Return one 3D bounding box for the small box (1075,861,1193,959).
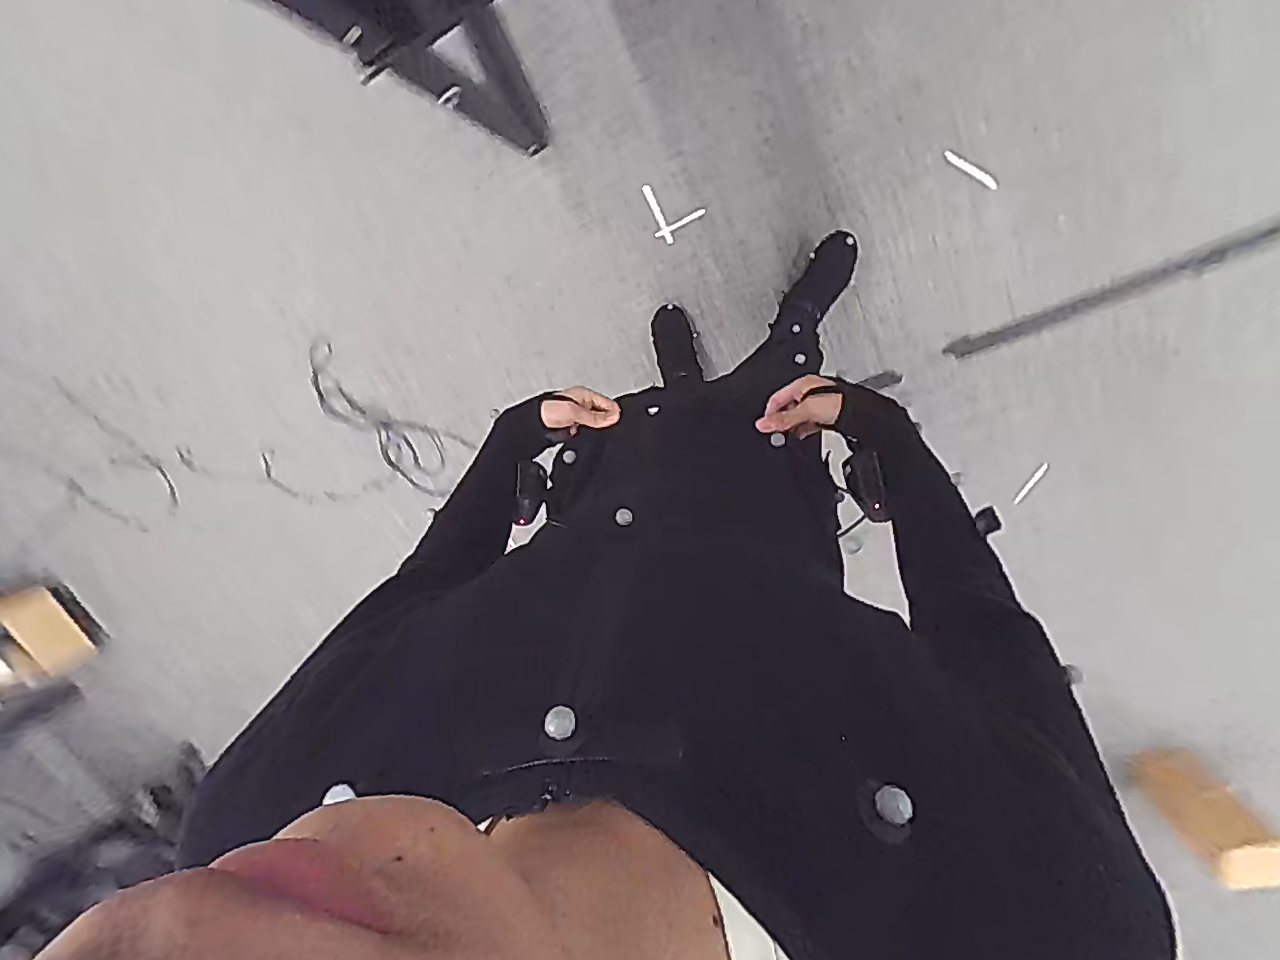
[{"bbox_3d":[1.398,1.227,1.543,0.168,0.176,0.179,-31,106,18],"label":"small box"}]
